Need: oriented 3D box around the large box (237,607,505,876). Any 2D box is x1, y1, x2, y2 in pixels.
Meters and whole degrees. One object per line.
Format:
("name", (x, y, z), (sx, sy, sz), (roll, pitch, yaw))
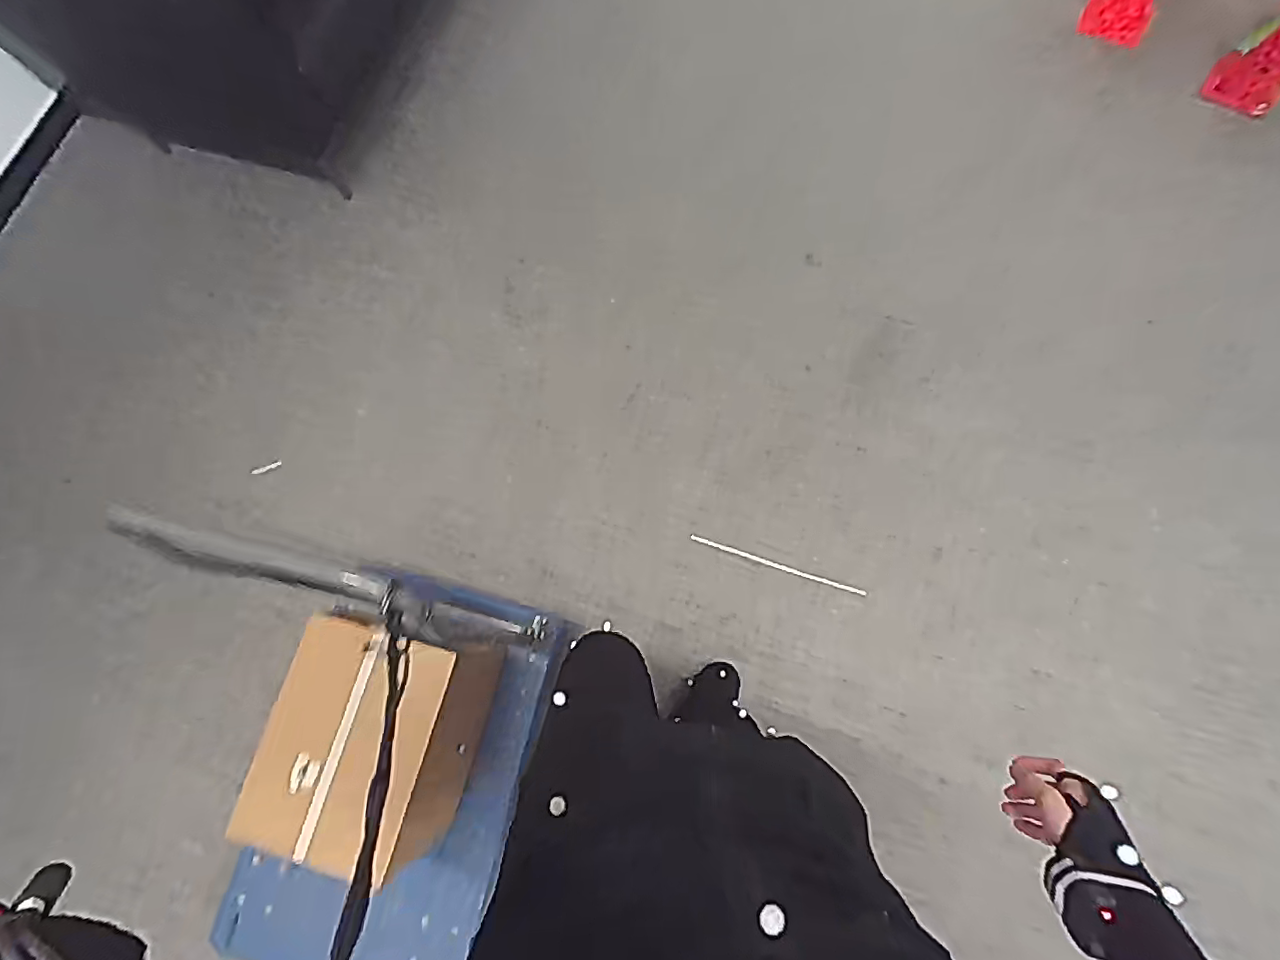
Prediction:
("large box", (-0.524, 0.501, 1.141), (0.320, 0.320, 0.408), (14, 78, 8))
